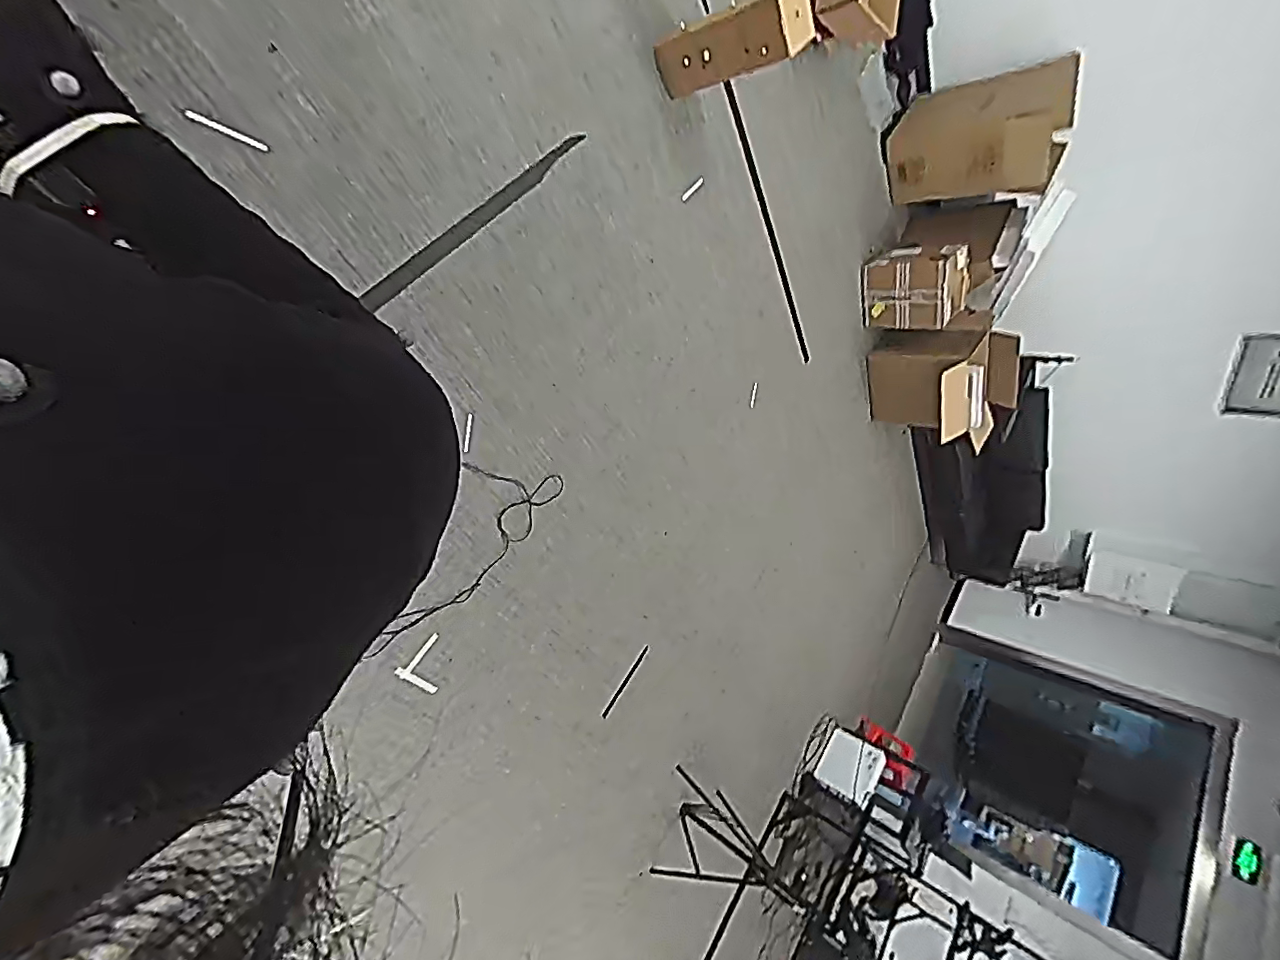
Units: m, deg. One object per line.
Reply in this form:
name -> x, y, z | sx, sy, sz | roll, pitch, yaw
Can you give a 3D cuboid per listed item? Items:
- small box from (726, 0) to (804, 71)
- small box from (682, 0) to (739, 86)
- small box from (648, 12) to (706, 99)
small box -> 0.389, -1.434, 1.704 | 0.179, 0.176, 0.168 | -54, 135, -23
small box -> 0.270, -1.465, 1.811 | 0.179, 0.176, 0.168 | -52, 133, -22
small box -> 0.154, -1.502, 1.921 | 0.168, 0.176, 0.179 | -52, 134, -23
